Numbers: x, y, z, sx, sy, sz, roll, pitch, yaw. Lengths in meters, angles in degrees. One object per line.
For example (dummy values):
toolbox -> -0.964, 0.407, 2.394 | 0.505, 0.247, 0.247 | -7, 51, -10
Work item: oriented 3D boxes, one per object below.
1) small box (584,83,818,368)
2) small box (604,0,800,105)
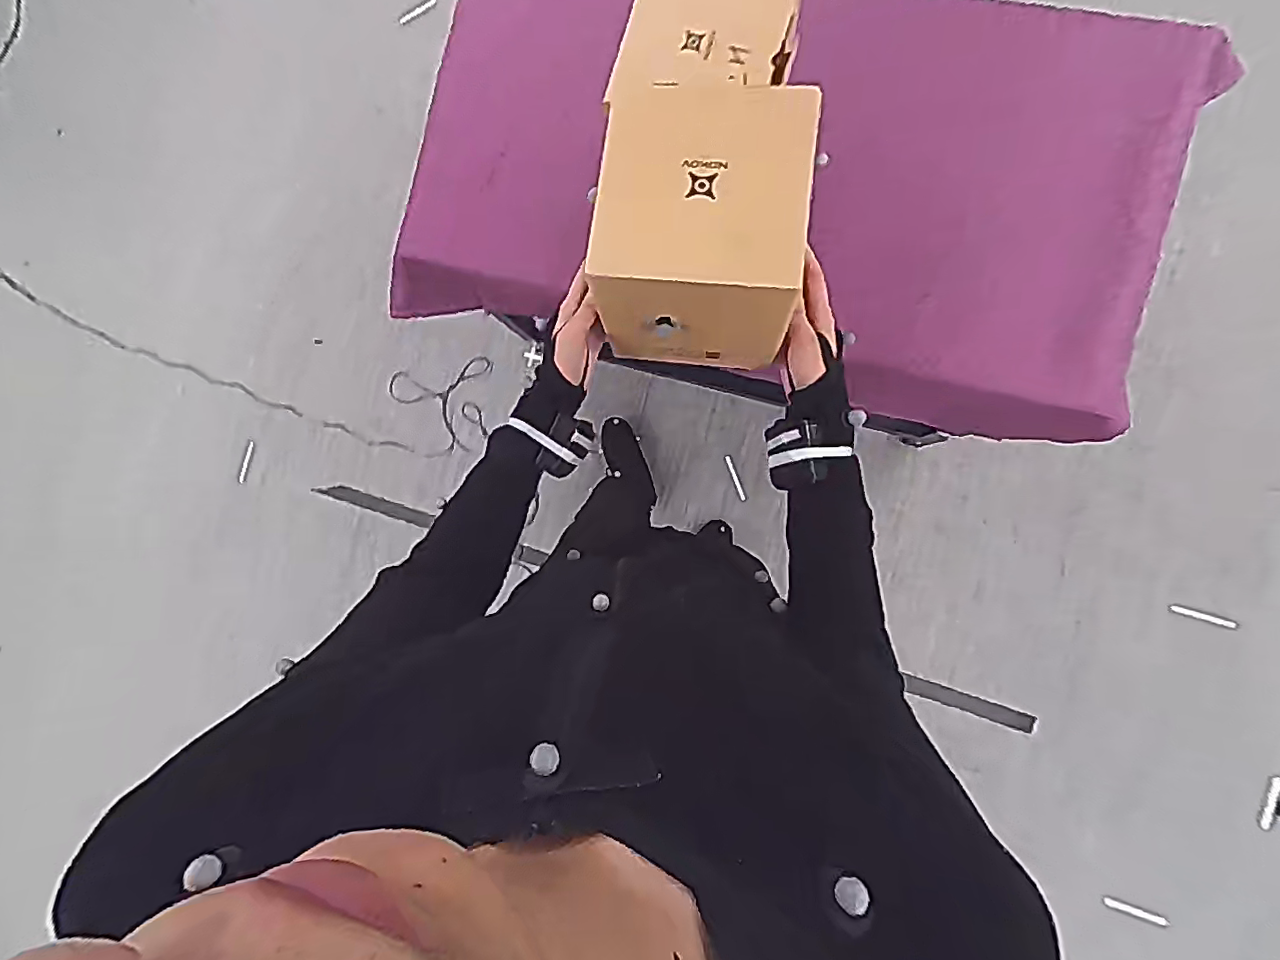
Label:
small box -> 0.056, -0.217, 0.496 | 0.168, 0.176, 0.179 | 6, 80, 7
small box -> 0.077, -0.467, 0.664 | 0.179, 0.176, 0.168 | 18, 91, 8
